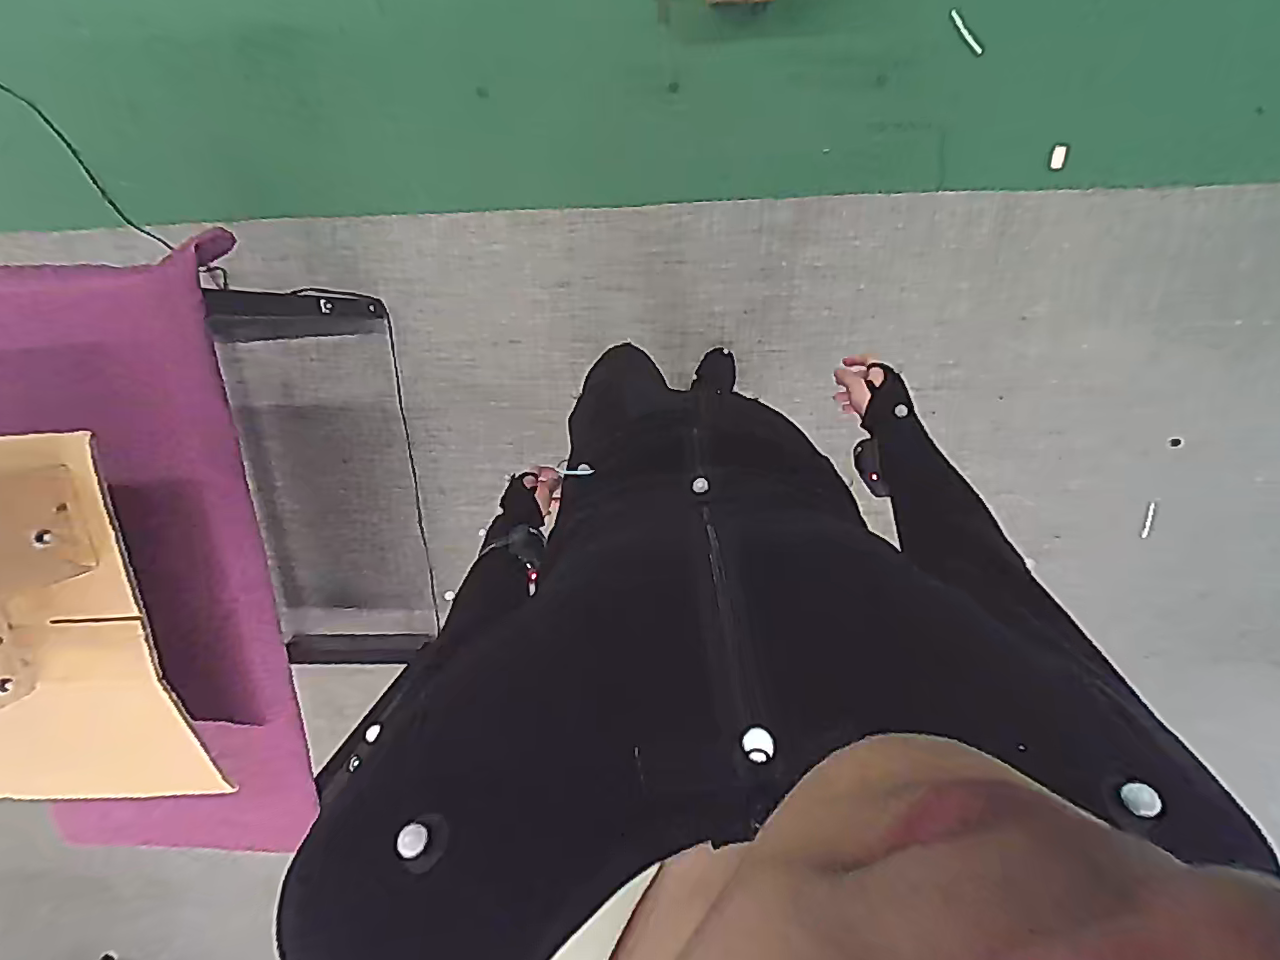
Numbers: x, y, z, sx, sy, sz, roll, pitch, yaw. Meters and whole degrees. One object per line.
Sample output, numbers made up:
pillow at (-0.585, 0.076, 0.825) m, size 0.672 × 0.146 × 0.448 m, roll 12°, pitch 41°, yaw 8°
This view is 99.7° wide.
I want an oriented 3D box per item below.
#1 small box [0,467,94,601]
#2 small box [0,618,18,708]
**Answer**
small box at (-0.923, 0.080, 0.735) m, size 0.179 × 0.176 × 0.168 m, roll -3°, pitch 103°, yaw 4°
small box at (-1.091, 0.295, 0.796) m, size 0.179 × 0.176 × 0.168 m, roll -3°, pitch 102°, yaw 6°
